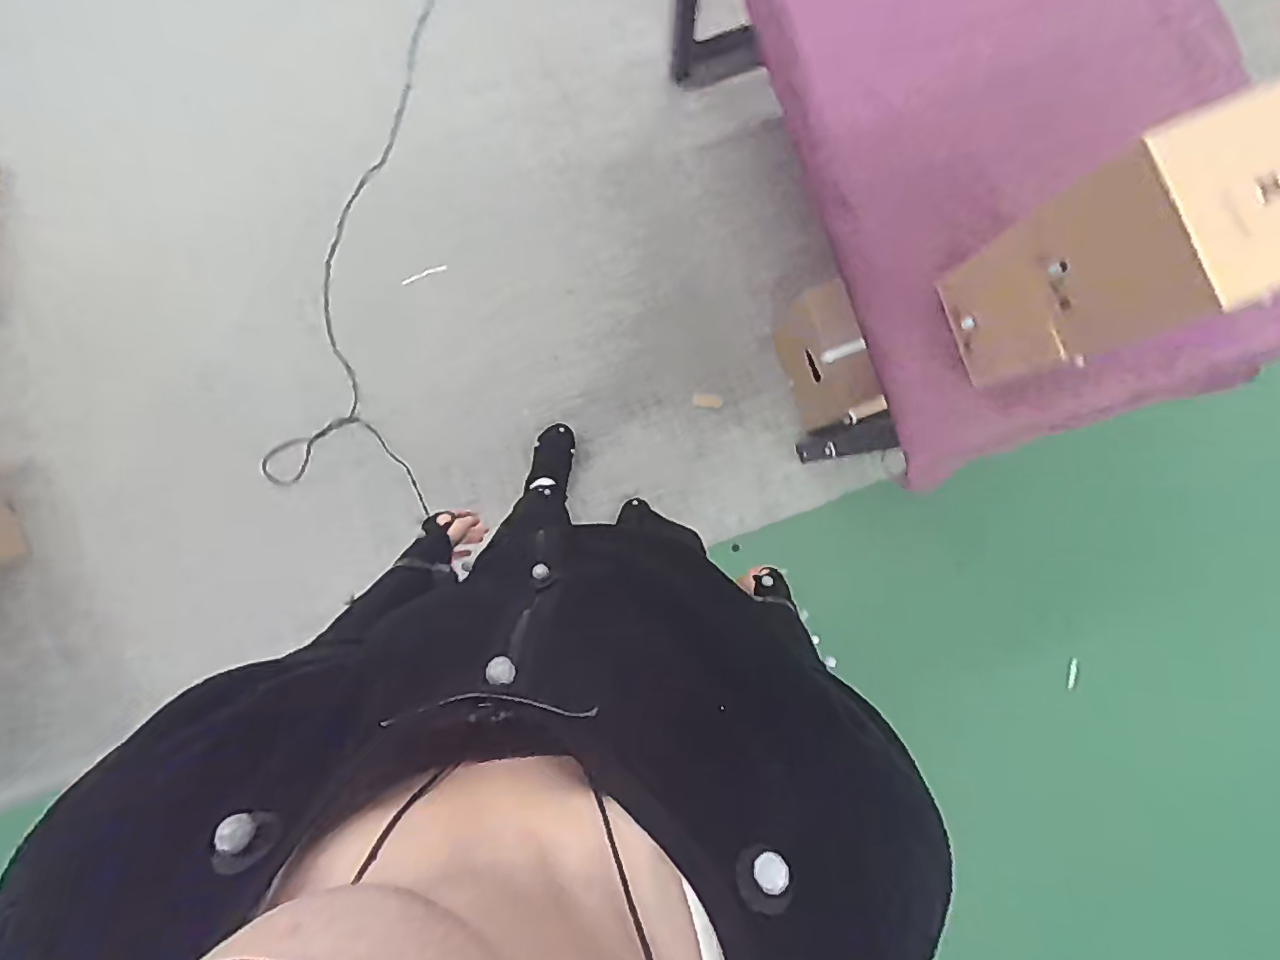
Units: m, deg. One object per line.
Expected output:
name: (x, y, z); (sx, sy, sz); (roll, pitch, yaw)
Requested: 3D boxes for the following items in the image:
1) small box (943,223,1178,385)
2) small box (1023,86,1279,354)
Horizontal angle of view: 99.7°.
small box: (0.542, -0.237, 0.701); (0.179, 0.176, 0.168); (-19, 88, -1)
small box: (0.543, -0.247, 0.539); (0.179, 0.176, 0.168); (-21, 88, -1)
